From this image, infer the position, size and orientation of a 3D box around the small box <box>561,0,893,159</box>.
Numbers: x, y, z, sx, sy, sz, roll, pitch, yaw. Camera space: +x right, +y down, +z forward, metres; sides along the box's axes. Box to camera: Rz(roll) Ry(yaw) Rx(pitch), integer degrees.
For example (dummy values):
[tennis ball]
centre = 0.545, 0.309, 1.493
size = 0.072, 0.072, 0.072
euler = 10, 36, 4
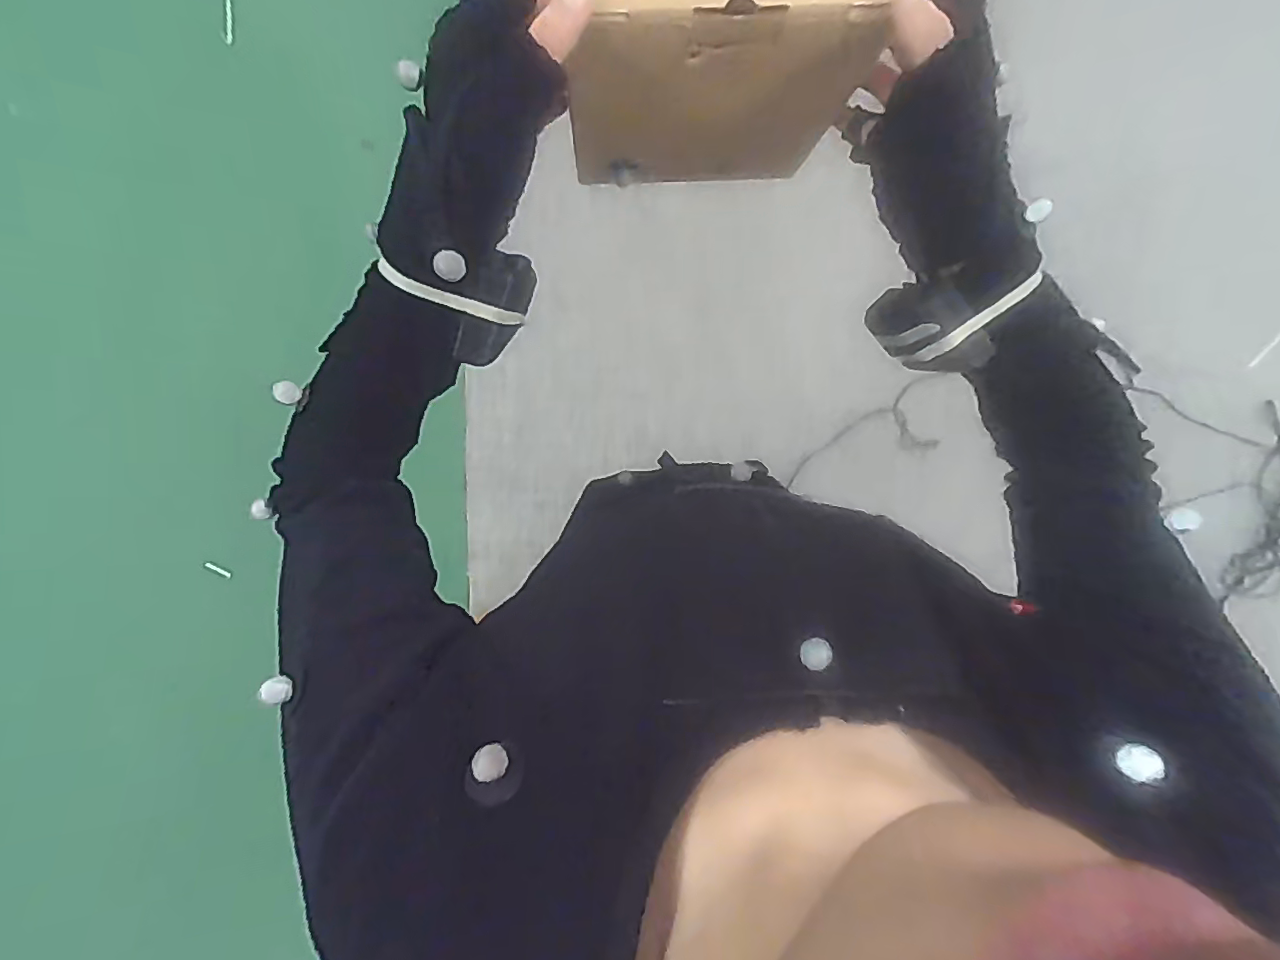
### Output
[small box]
centre = 0.038, -0.312, 0.315
size = 0.168, 0.176, 0.179
euler = -4, 94, -3
